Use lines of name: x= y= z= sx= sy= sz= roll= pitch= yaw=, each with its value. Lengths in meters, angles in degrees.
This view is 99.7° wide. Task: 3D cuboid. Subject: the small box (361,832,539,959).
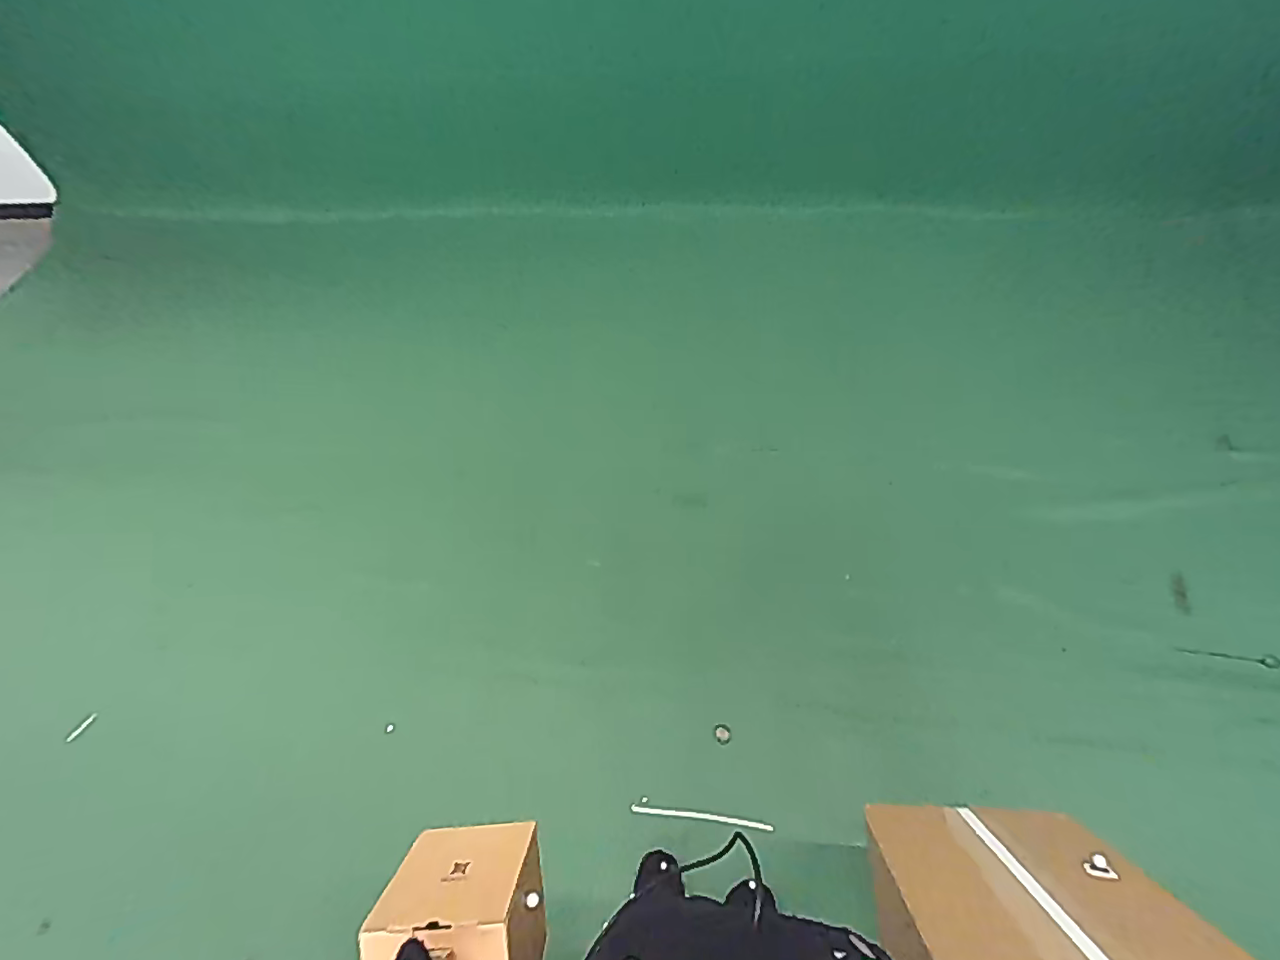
small box: x=-0.226 y=0.588 z=0.684 sx=0.168 sy=0.179 sz=0.176 roll=-5 pitch=90 yaw=0
